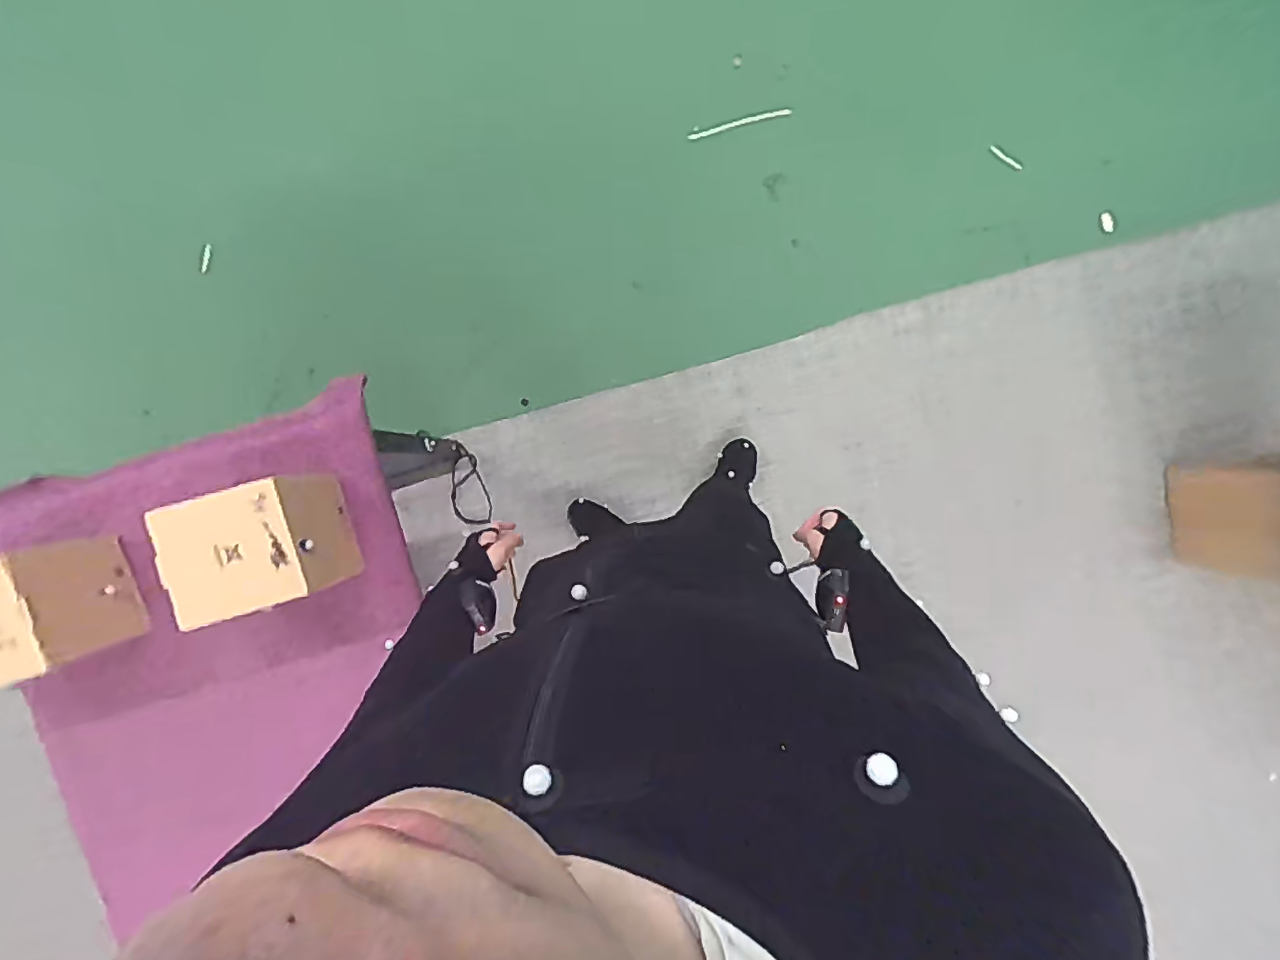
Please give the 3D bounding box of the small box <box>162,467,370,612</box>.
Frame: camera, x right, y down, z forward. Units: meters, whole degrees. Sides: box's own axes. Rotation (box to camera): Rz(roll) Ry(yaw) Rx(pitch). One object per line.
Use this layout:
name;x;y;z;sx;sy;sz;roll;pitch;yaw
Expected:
small box;-0.553;0.080;0.824;0.179;0.176;0.168;-16;94;0

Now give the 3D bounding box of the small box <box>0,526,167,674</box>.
small box;-0.895;0.180;0.824;0.179;0.176;0.168;-18;95;-1
